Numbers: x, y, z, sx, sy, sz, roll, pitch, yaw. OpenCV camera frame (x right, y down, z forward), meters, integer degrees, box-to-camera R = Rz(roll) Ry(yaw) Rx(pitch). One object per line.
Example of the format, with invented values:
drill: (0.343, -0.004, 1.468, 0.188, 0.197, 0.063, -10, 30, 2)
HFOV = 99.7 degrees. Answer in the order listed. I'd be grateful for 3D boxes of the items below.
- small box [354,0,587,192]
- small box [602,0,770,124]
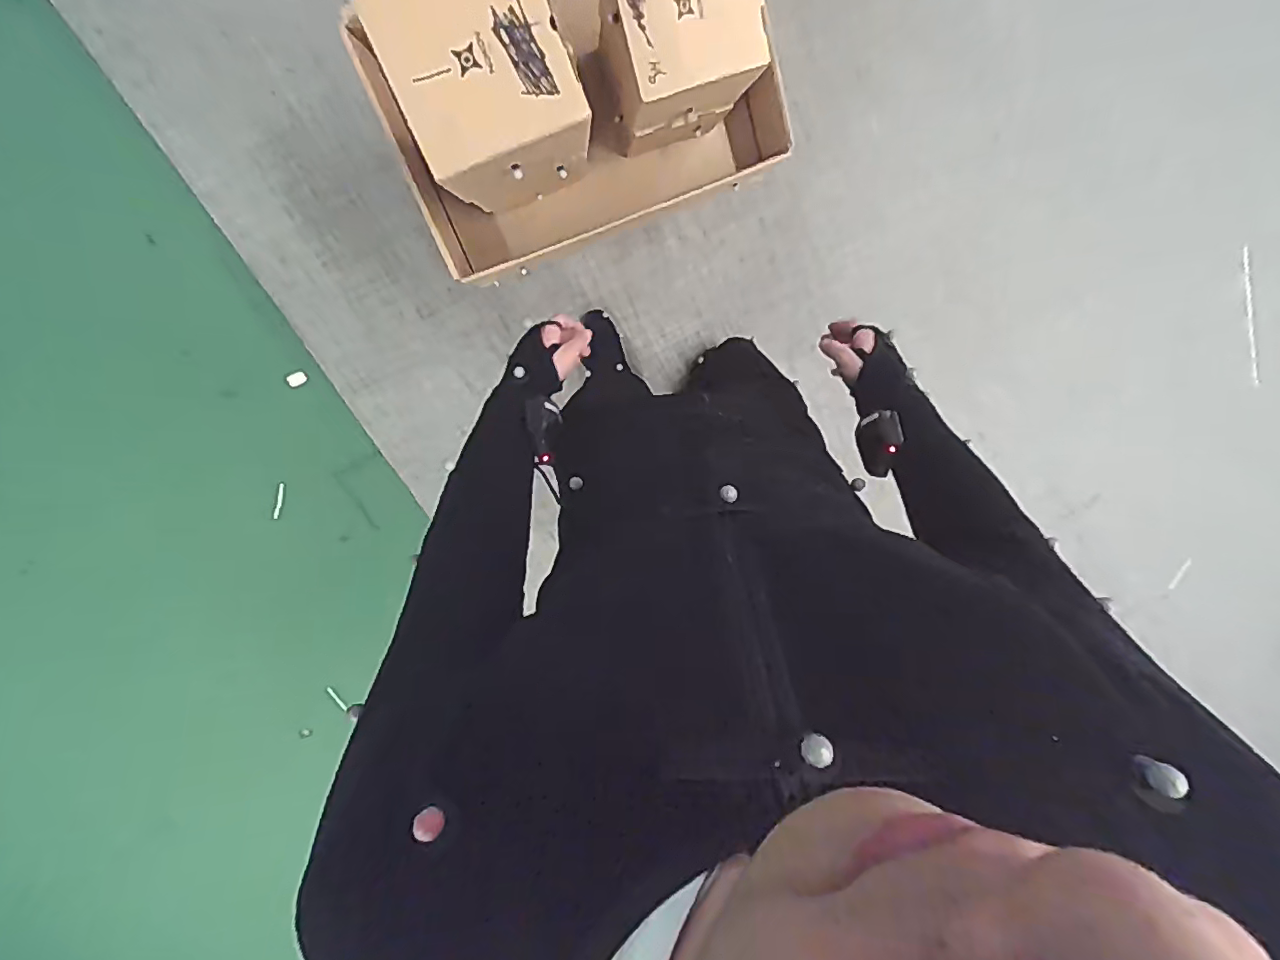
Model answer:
small box: (-0.170, -0.446, 0.606, 0.179, 0.176, 0.168, -21, 112, 4)
small box: (0.054, -0.616, 0.734, 0.179, 0.176, 0.168, -17, 112, 2)
